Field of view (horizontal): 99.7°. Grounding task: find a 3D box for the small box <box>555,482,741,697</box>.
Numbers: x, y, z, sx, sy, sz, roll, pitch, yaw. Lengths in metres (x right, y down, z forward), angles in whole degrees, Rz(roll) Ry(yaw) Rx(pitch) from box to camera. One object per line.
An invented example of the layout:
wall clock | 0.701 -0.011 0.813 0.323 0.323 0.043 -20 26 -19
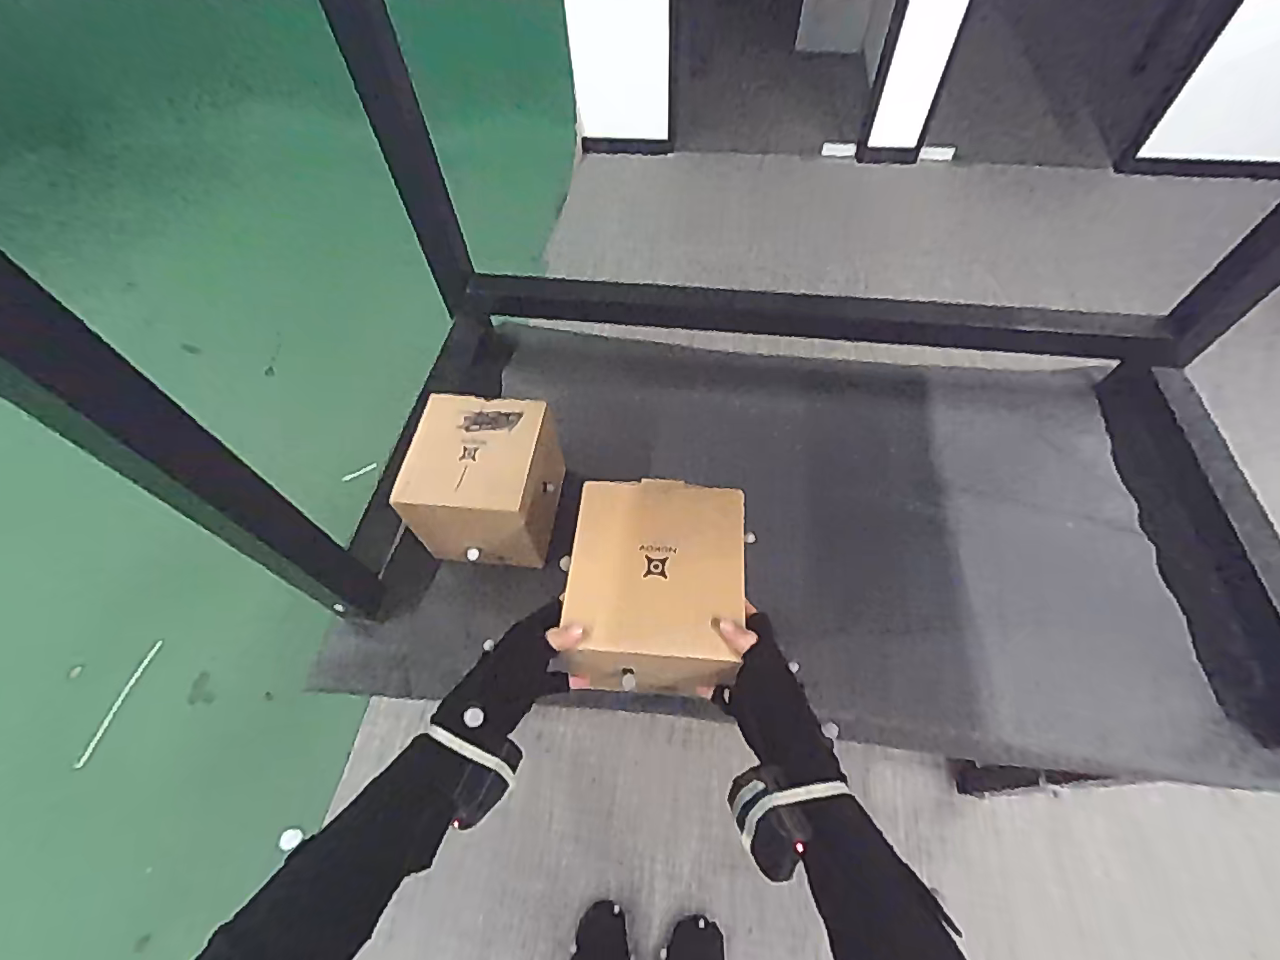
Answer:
small box | 0.017 0.122 0.577 0.168 0.176 0.179 3 55 4

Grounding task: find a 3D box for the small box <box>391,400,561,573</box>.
small box | -0.212 0.011 0.762 0.168 0.176 0.179 4 57 5
